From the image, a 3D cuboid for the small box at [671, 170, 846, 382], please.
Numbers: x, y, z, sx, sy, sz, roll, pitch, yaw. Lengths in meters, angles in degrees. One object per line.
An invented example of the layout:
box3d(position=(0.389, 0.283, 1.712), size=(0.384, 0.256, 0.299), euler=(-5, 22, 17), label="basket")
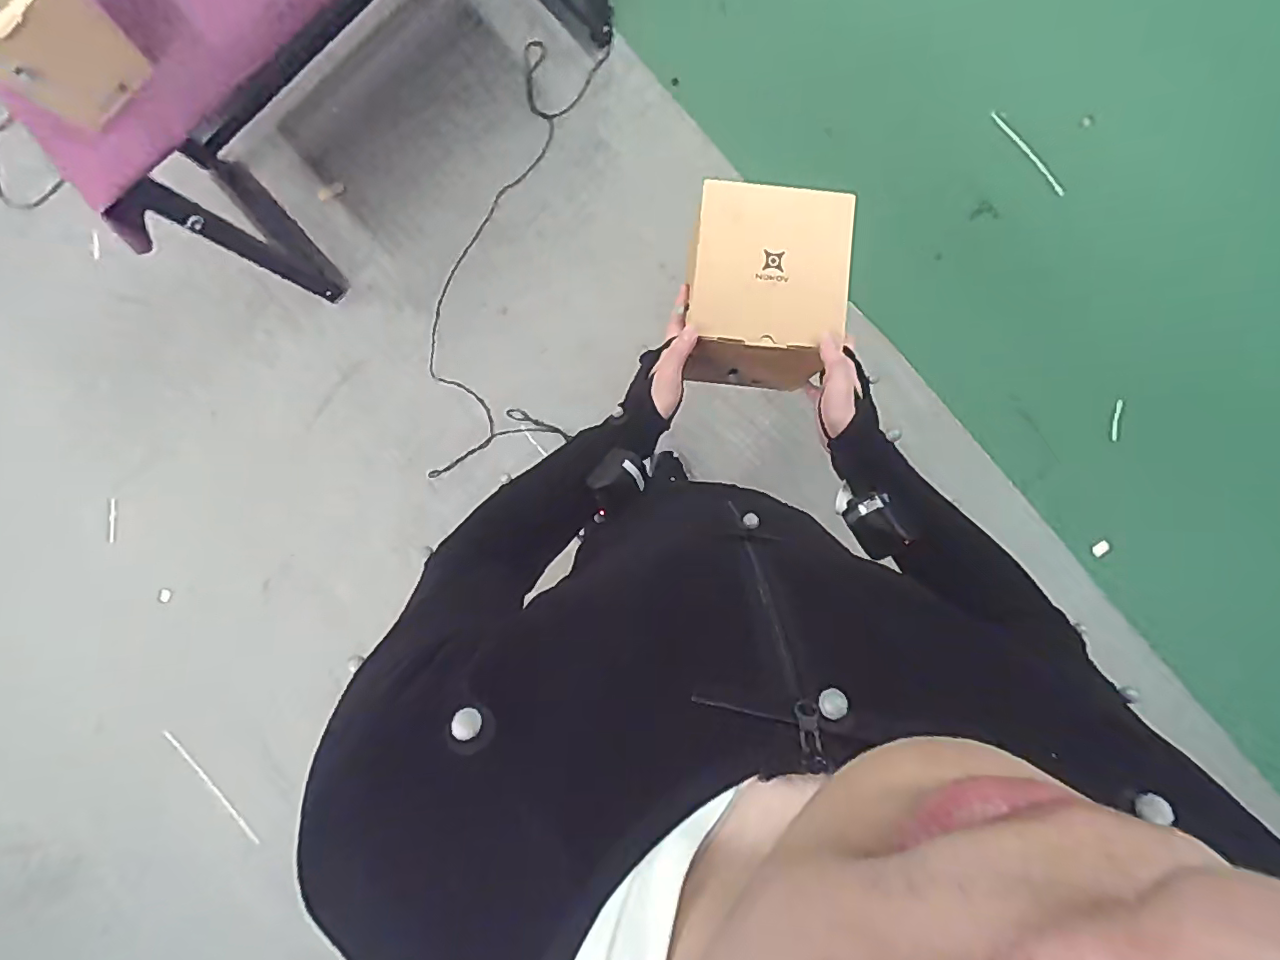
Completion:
box3d(position=(0.129, -0.229, 0.647), size=(0.168, 0.176, 0.179), euler=(5, 87, -1), label="small box")
